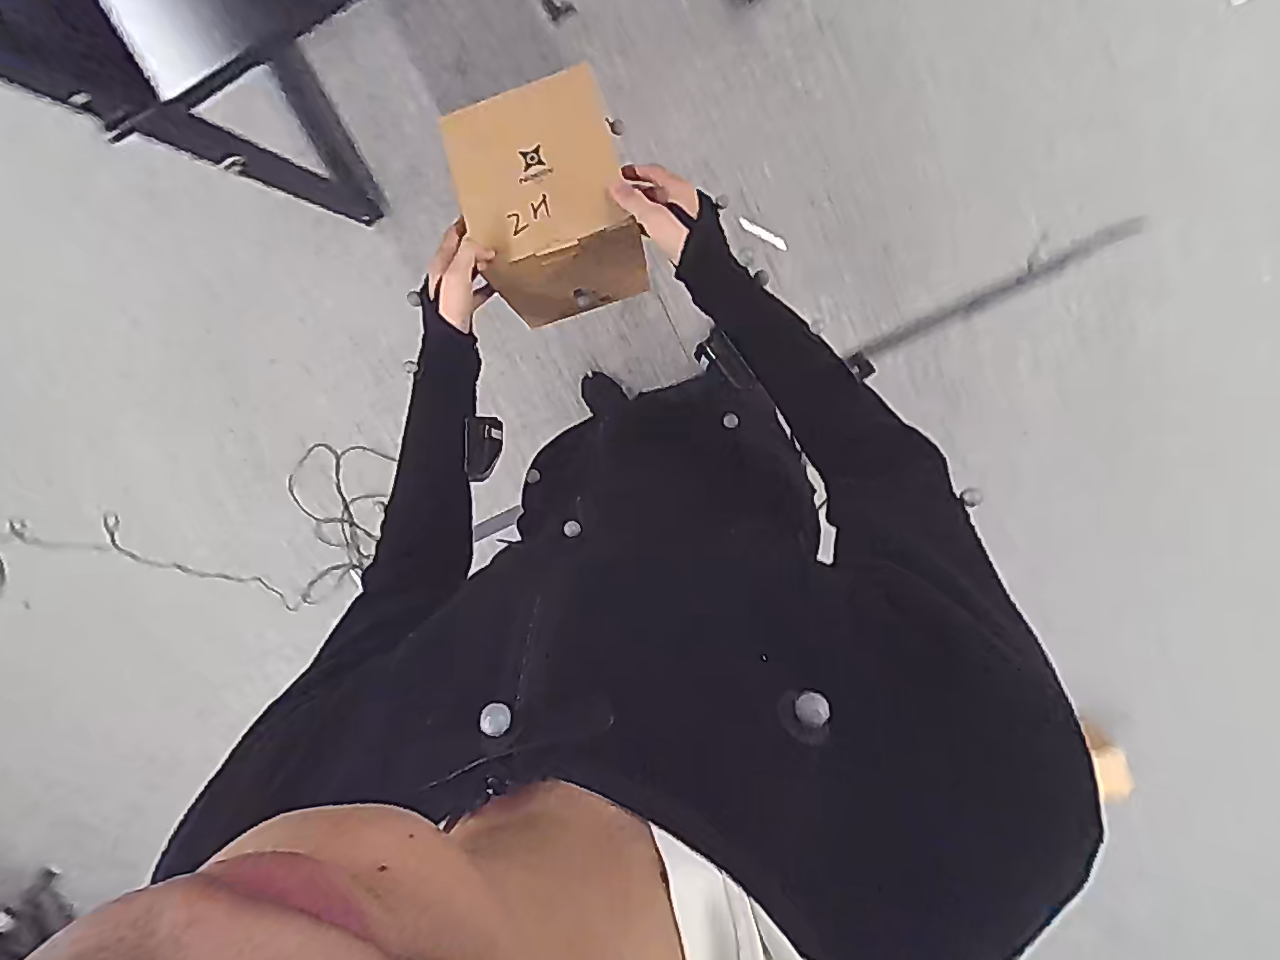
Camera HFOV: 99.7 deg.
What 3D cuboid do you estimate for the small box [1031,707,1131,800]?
[{"bbox_3d":[1.406,0.870,1.732,0.168,0.176,0.179,-24,103,6],"label":"small box"}]

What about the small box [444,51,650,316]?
[{"bbox_3d":[-0.092,-0.313,0.608,0.168,0.176,0.179,-15,85,6],"label":"small box"}]
